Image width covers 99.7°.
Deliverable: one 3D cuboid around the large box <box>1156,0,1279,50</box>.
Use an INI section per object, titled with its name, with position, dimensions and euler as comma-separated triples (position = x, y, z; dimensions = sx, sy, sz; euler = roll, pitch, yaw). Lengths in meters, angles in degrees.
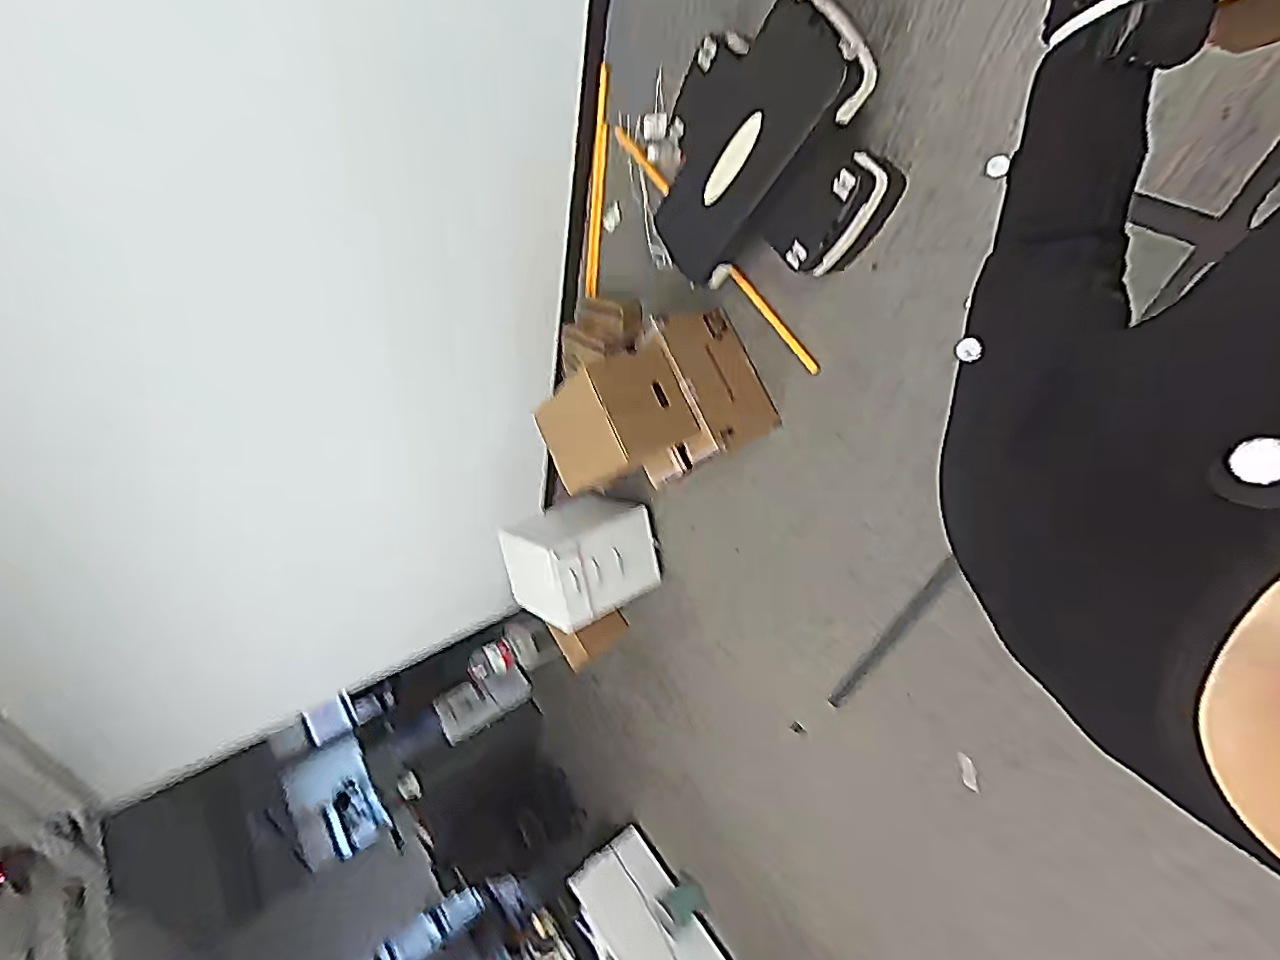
[large box]
position = 0.559, -0.486, 0.255
dimensions = 0.408, 0.320, 0.320
euler = 13, 121, 50
